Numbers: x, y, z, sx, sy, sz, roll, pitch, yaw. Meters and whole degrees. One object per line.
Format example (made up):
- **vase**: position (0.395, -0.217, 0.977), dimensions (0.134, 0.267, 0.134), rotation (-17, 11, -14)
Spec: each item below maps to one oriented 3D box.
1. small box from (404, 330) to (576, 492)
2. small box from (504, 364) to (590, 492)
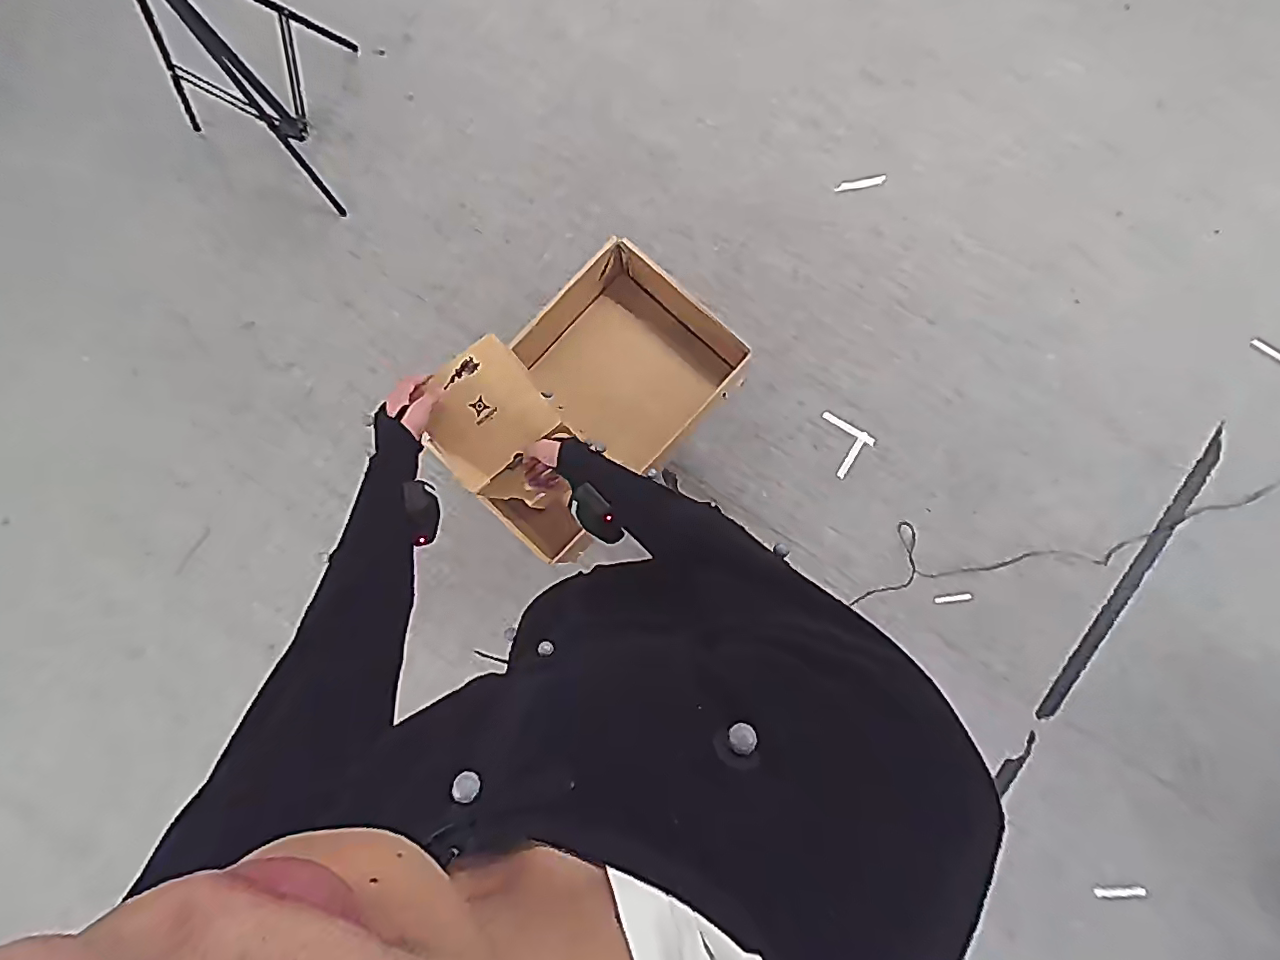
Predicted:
- **small box**: position (-0.219, -0.097, 0.847), dimensions (0.168, 0.176, 0.179), rotation (-38, 86, -1)
- **small box**: position (-0.213, -0.091, 1.013), dimensions (0.168, 0.176, 0.179), rotation (-39, 83, -1)
